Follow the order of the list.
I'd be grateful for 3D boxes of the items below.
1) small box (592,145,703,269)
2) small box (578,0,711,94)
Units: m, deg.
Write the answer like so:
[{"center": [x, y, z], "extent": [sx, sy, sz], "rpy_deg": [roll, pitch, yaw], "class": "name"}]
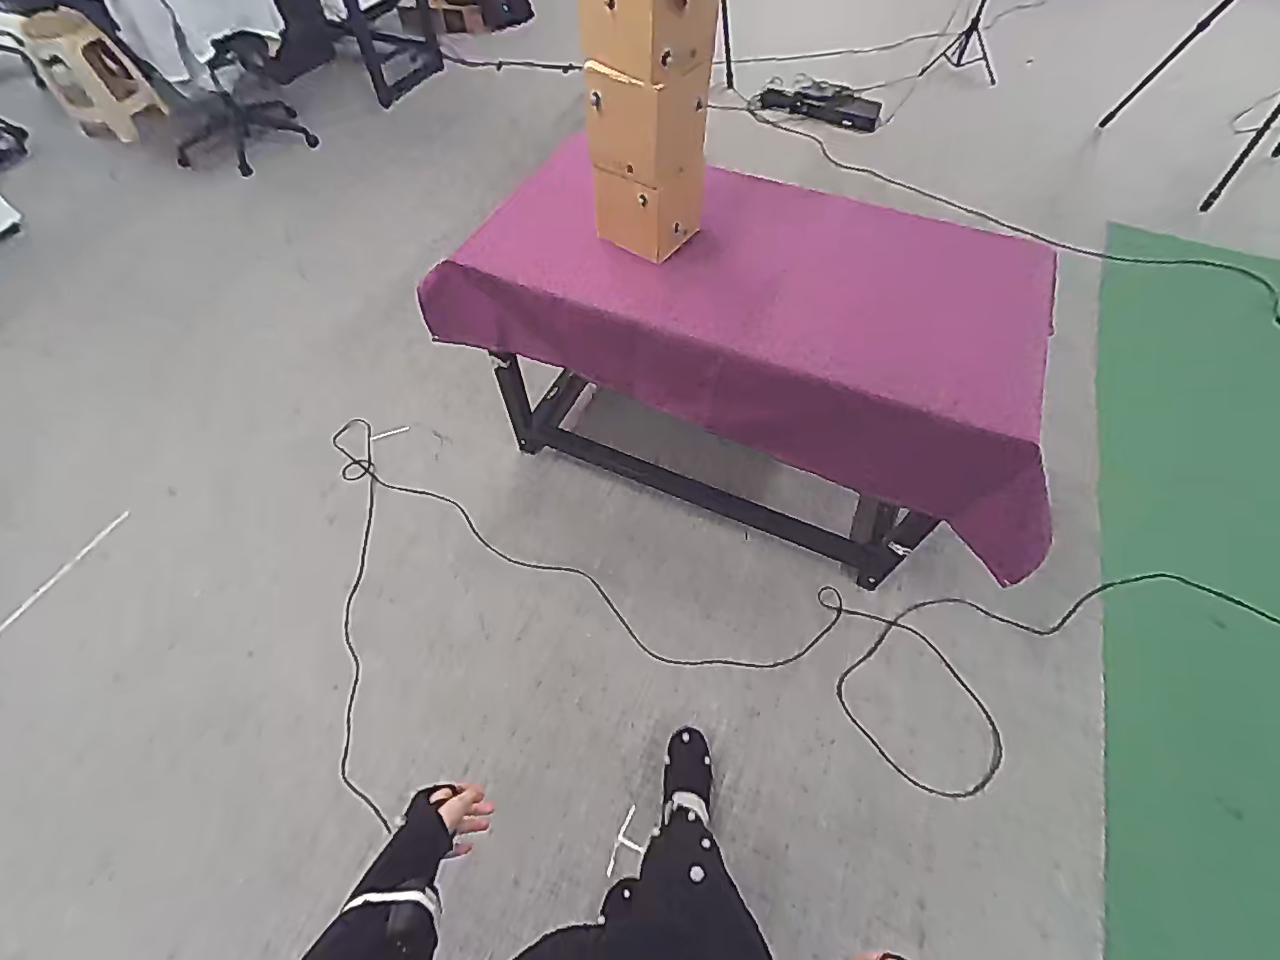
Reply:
[{"center": [0.015, -0.597, 1.192], "extent": [0.179, 0.176, 0.168], "rpy_deg": [32, 62, 18], "class": "small box"}, {"center": [0.011, -0.796, 0.929], "extent": [0.179, 0.176, 0.168], "rpy_deg": [38, 63, 23], "class": "small box"}]
